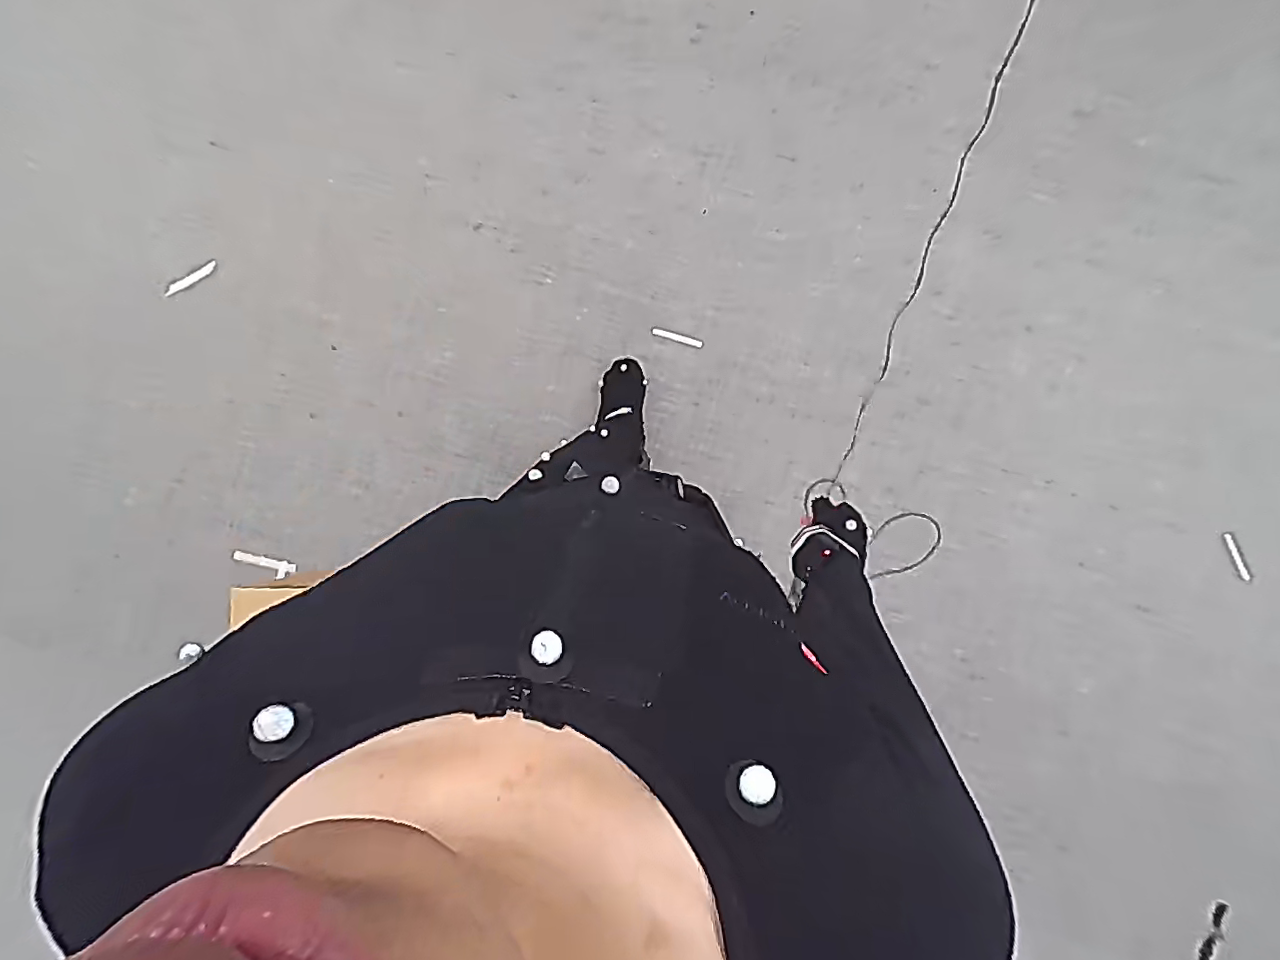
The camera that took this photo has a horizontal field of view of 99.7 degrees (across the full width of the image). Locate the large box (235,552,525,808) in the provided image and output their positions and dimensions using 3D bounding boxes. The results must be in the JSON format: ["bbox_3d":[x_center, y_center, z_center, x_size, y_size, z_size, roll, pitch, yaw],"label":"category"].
[{"bbox_3d":[-0.409,0.305,0.950,0.320,0.408,0.320,-2,88,7],"label":"large box"}]
